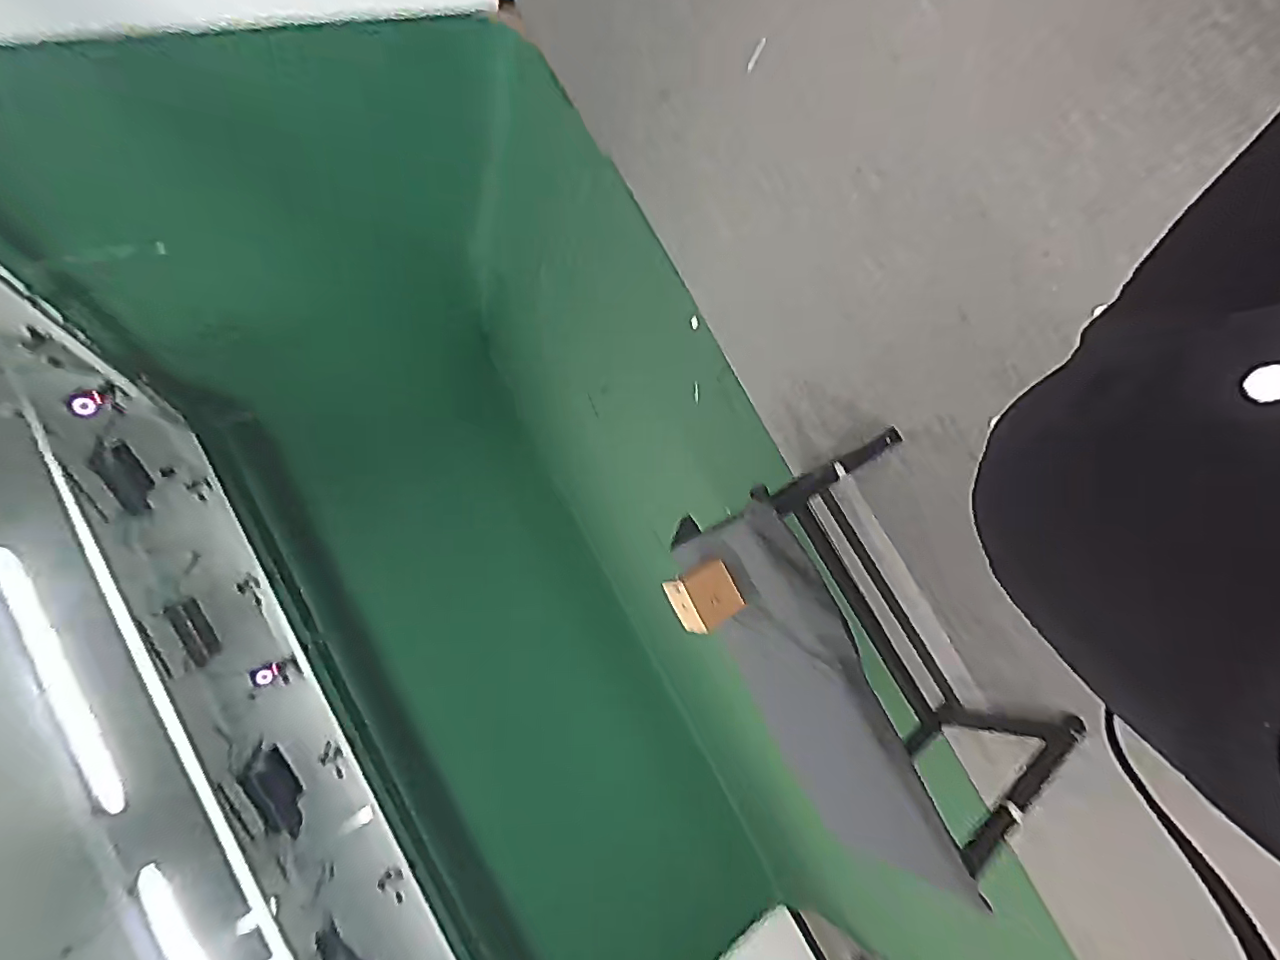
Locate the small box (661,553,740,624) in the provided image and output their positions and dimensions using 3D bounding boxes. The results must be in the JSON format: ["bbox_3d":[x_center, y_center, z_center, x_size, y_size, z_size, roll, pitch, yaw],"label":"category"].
[{"bbox_3d":[0.207,0.367,1.836,0.179,0.176,0.168,61,155,0],"label":"small box"}]
